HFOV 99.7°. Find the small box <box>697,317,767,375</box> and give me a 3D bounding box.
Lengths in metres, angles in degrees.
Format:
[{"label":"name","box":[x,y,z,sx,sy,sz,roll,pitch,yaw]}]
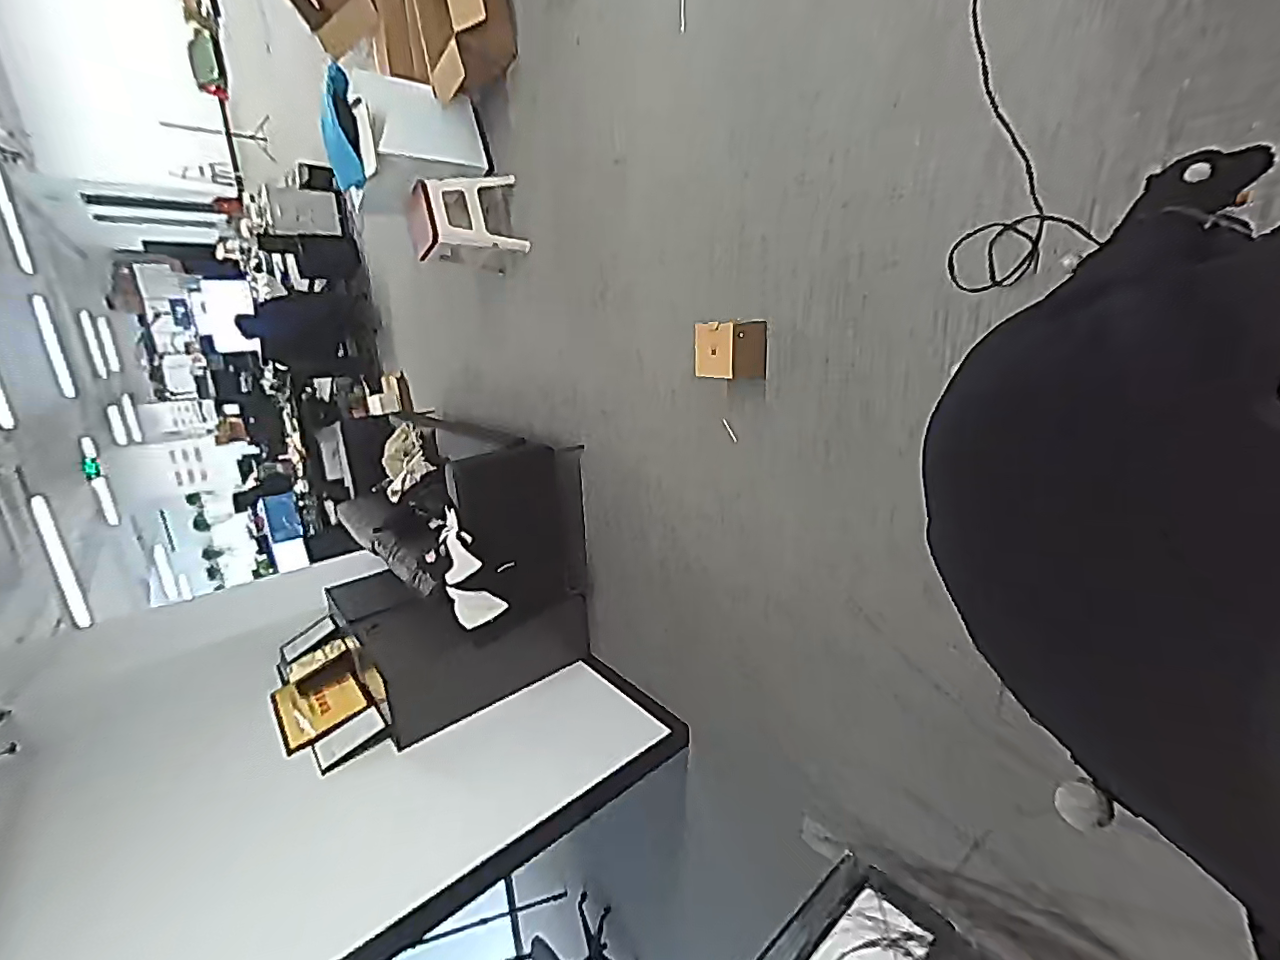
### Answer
[{"label":"small box","box":[0.309,-0.451,1.807,0.168,0.176,0.179,17,115,48]}]
